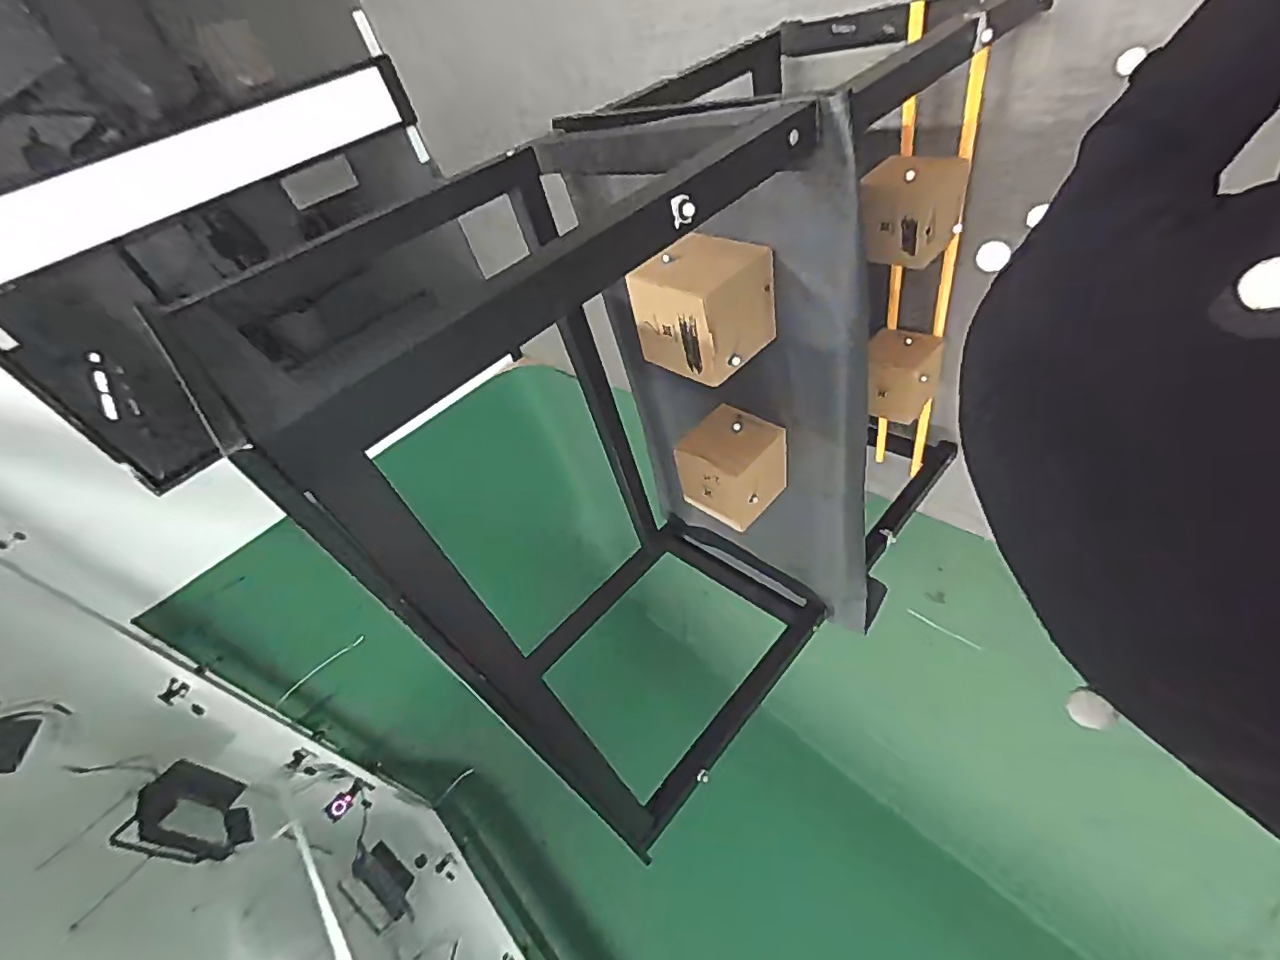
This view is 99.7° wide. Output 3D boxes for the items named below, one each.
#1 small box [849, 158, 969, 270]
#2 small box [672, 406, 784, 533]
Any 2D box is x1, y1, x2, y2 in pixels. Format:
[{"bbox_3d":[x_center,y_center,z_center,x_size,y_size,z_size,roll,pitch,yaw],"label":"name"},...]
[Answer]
[{"bbox_3d":[0.588,-0.590,1.190,0.179,0.176,0.168,30,150,36],"label":"small box"},{"bbox_3d":[0.195,-0.026,1.163,0.168,0.176,0.179,30,150,36],"label":"small box"}]
